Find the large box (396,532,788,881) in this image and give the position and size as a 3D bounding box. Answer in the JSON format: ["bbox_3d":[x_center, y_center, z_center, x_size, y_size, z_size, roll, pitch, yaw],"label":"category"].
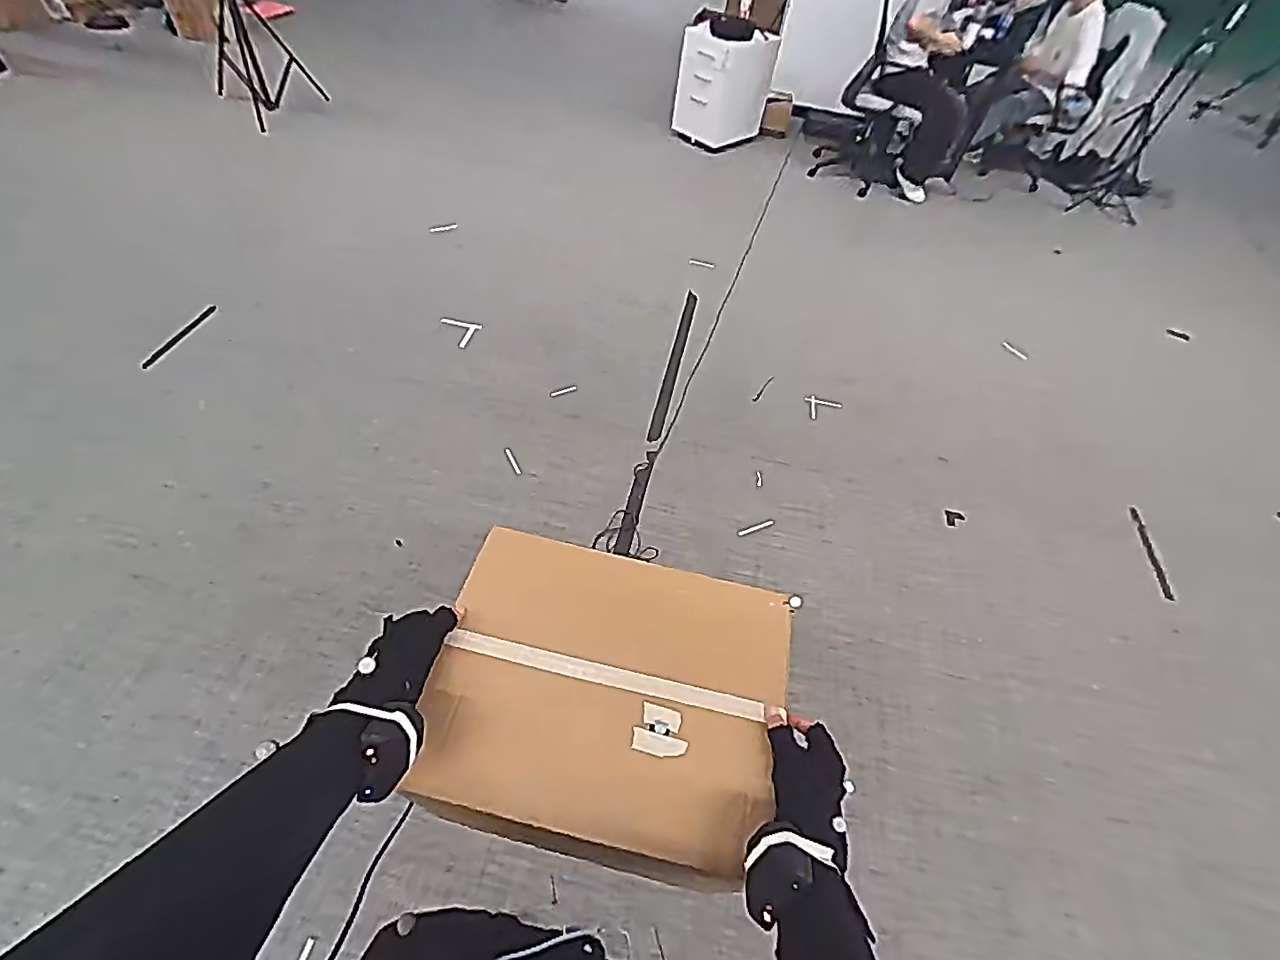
[{"bbox_3d":[-0.044,0.318,0.748,0.408,0.320,0.320,13,53,3],"label":"large box"}]
